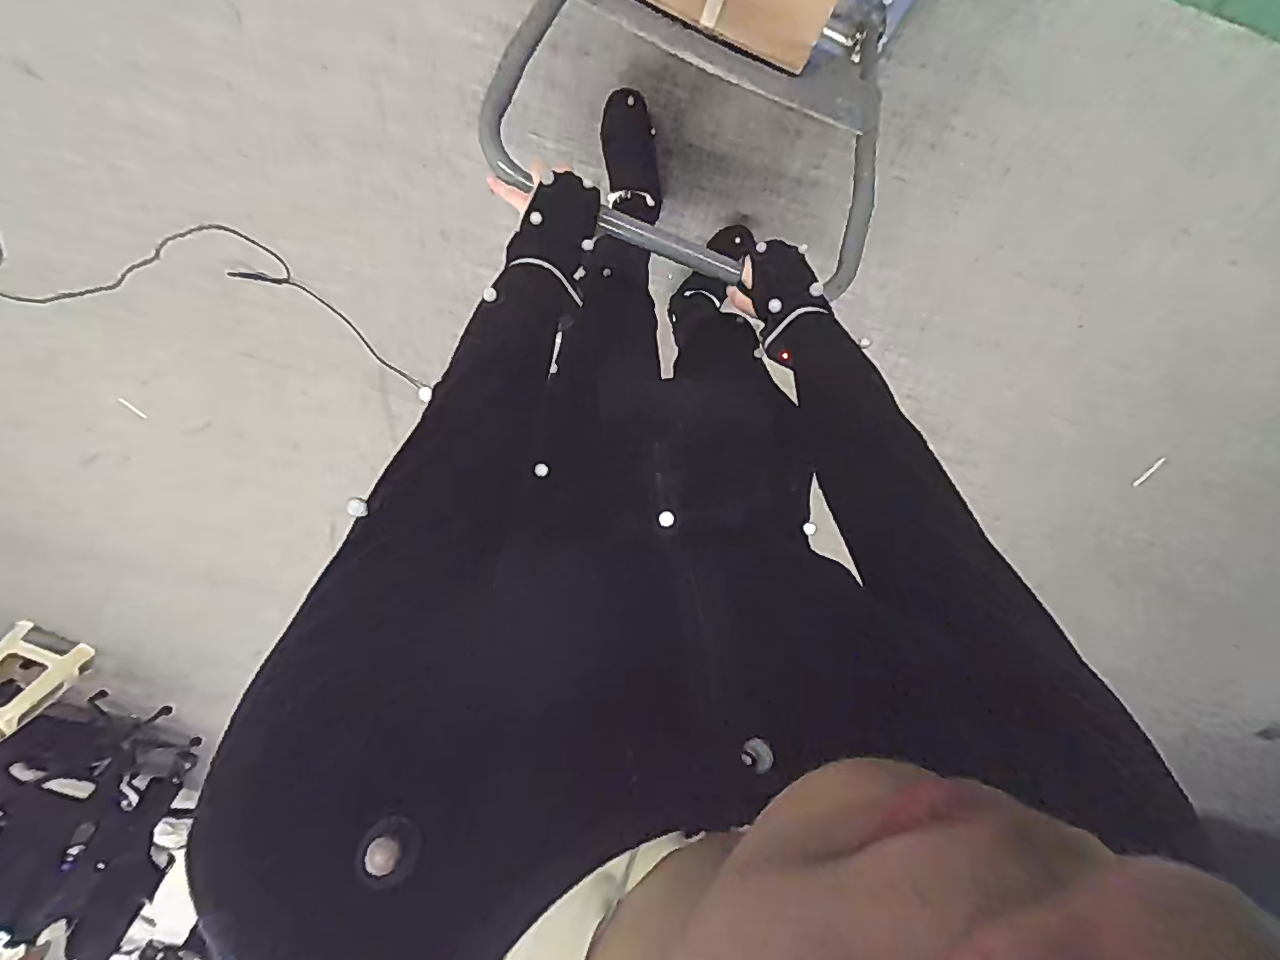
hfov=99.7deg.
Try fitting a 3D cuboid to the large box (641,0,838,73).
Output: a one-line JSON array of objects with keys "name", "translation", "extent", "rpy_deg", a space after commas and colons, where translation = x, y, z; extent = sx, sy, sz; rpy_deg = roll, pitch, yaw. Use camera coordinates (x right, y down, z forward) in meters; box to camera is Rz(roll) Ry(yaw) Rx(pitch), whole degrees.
[{"name": "large box", "translation": [0.183, -0.869, 0.704], "extent": [0.320, 0.320, 0.408], "rpy_deg": [19, 147, -9]}]
